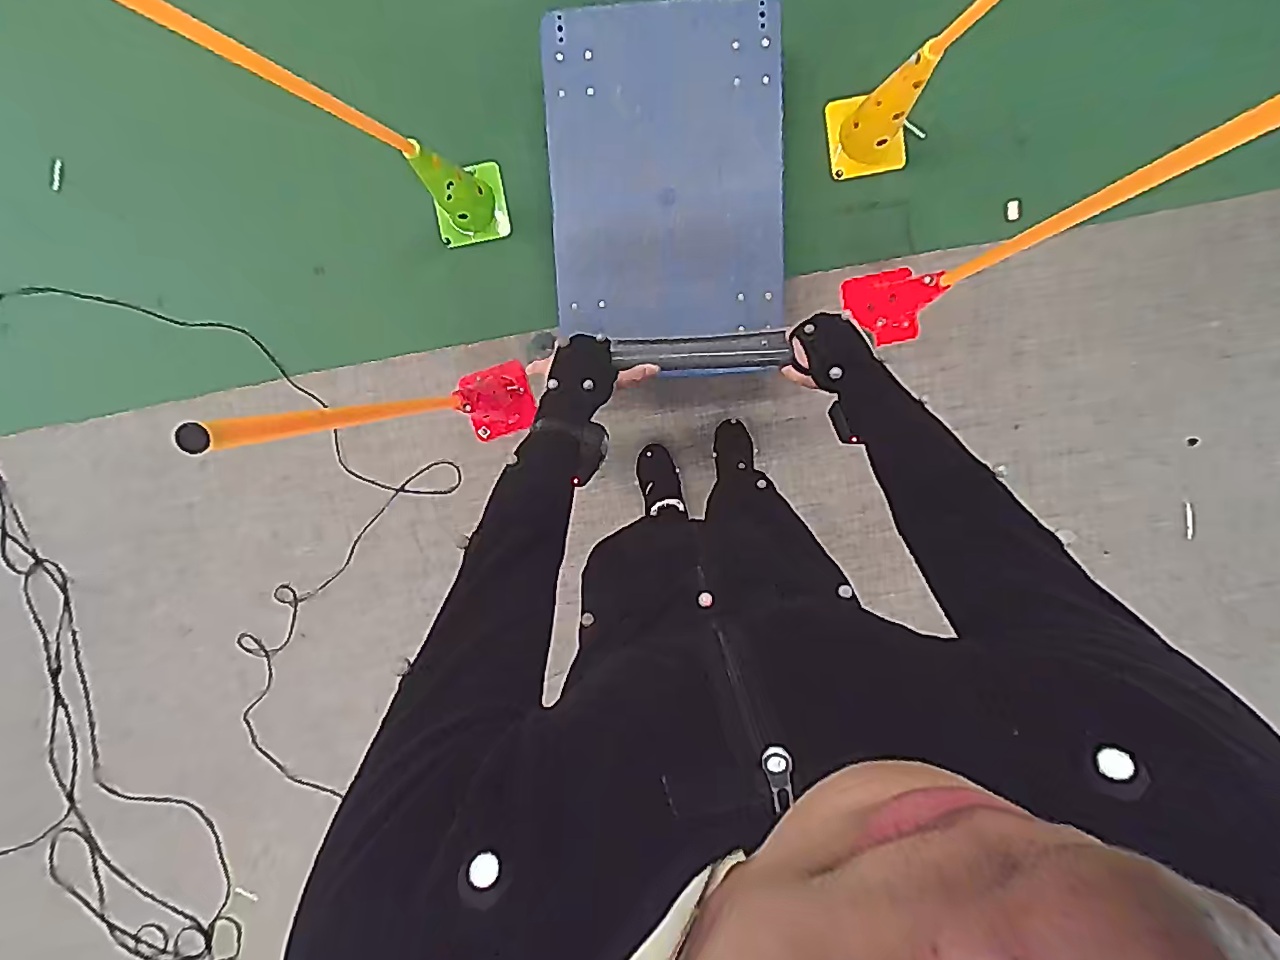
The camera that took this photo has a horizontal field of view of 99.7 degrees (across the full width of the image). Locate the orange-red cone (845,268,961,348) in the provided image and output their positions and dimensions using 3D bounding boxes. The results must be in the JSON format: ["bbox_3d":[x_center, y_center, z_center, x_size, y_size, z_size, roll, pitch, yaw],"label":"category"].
[{"bbox_3d":[0.667,-0.454,1.321,0.198,0.360,0.199,-10,96,3],"label":"orange-red cone"}]

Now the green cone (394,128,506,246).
[{"bbox_3d":[-0.488,-0.741,1.321,0.200,0.368,0.202,-10,96,4],"label":"green cone"}]
